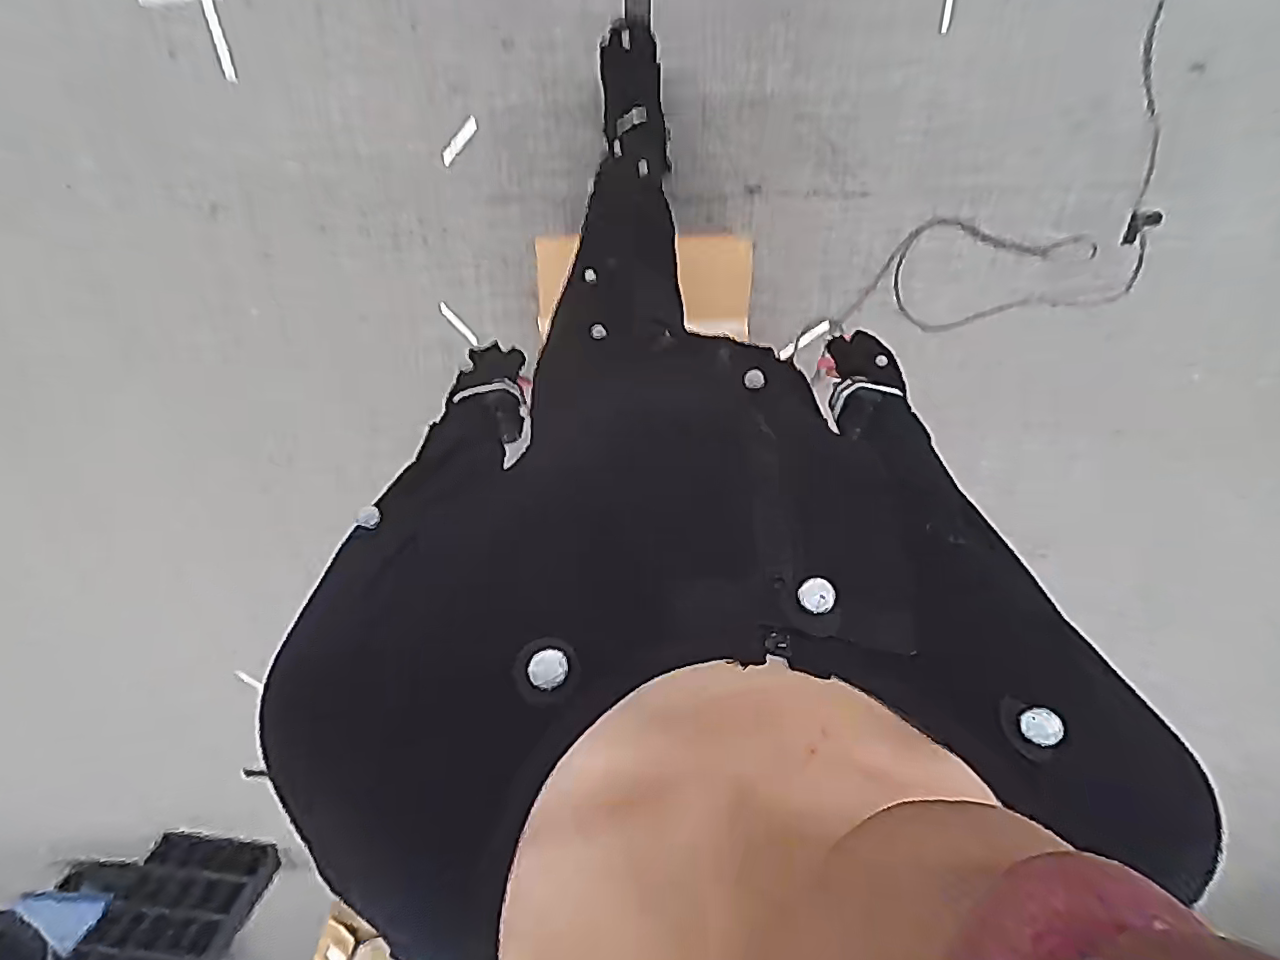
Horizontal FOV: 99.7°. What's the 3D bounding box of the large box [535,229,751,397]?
[{"bbox_3d":[0.009,-0.378,1.186,0.408,0.320,0.320,0,117,1],"label":"large box"}]
